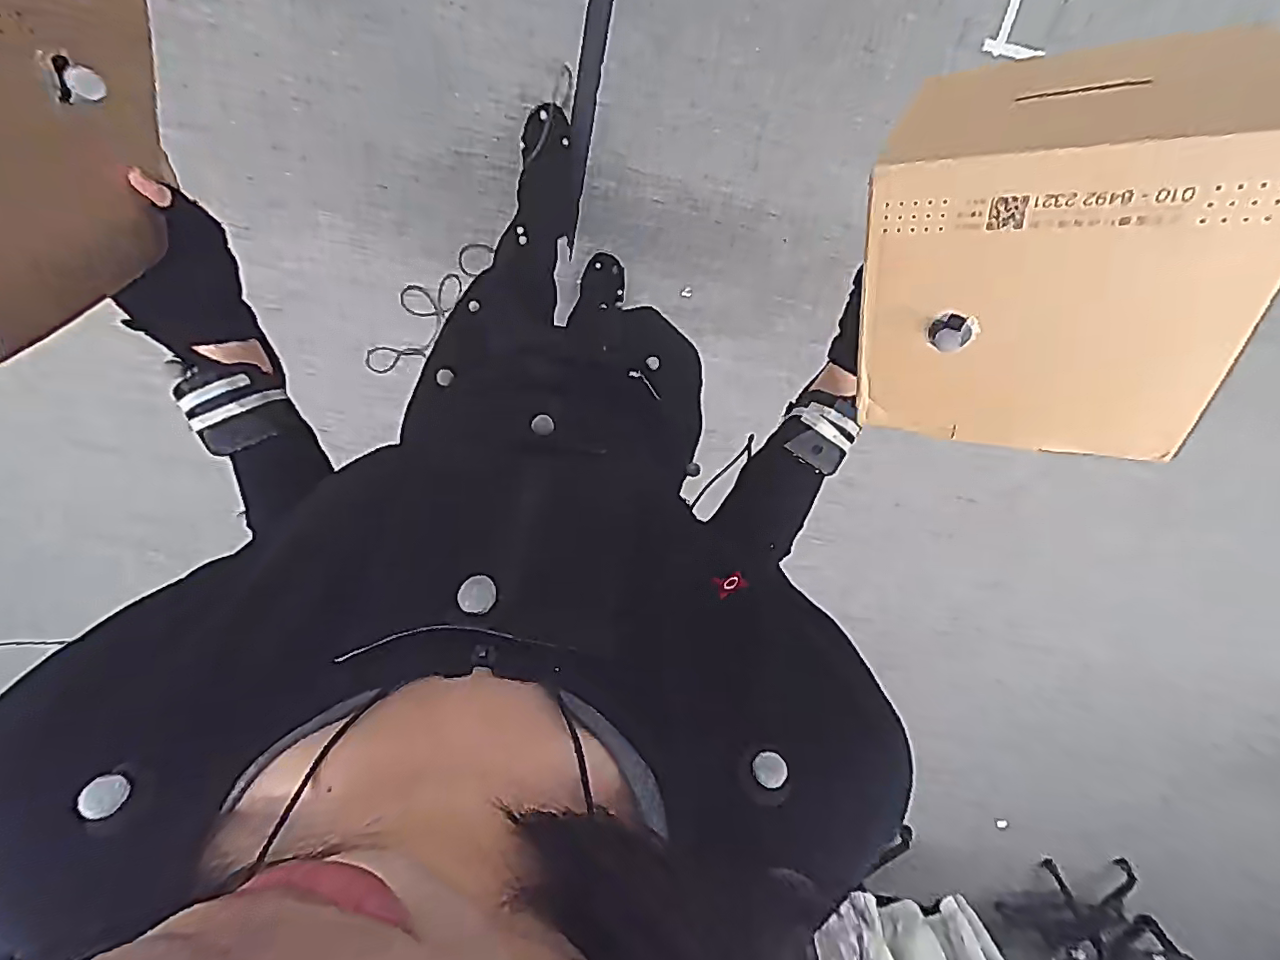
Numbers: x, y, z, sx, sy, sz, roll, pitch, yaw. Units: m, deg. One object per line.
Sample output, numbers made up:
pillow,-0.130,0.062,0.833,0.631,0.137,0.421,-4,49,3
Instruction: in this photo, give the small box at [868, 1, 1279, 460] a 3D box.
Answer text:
small box,0.238,-0.140,0.313,0.168,0.179,0.176,13,140,28

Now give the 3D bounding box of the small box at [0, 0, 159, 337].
small box,-0.372,-0.193,0.248,0.168,0.179,0.176,16,127,-21
